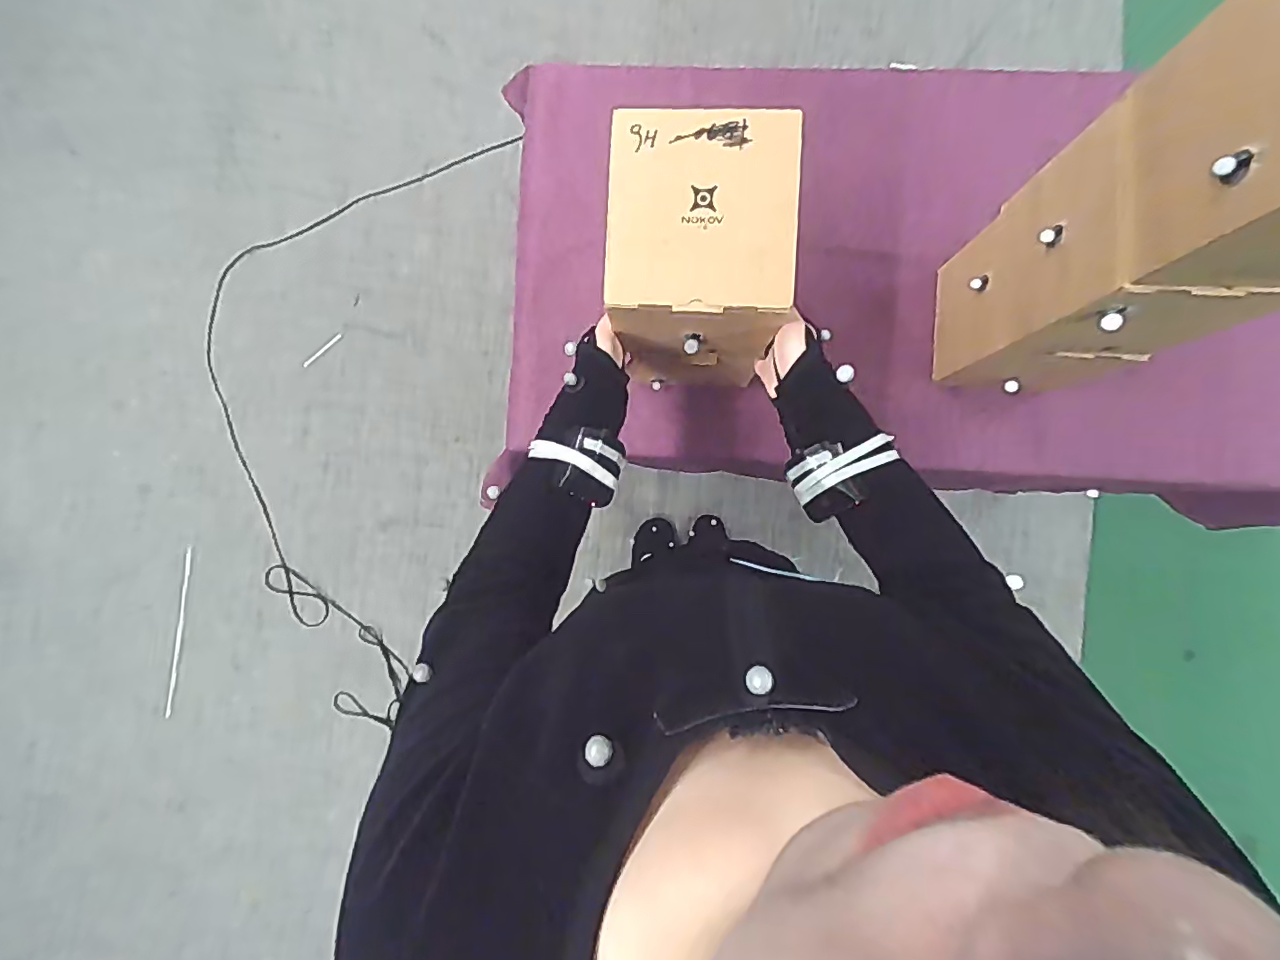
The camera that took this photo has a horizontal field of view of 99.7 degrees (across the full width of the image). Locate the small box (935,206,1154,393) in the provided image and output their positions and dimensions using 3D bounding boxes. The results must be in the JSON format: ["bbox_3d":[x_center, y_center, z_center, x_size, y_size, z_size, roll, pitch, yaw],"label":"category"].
[{"bbox_3d":[0.508,-0.223,0.703,0.168,0.176,0.179,5,87,4],"label":"small box"}]

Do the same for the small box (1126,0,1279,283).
[{"bbox_3d":[0.490,-0.251,0.377,0.168,0.176,0.179,2,86,3],"label":"small box"}]

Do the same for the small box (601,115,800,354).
[{"bbox_3d":[0.057,-0.228,0.546,0.168,0.176,0.179,2,91,4],"label":"small box"}]

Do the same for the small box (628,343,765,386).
[{"bbox_3d":[0.075,-0.229,0.725,0.168,0.176,0.179,2,86,2],"label":"small box"}]
